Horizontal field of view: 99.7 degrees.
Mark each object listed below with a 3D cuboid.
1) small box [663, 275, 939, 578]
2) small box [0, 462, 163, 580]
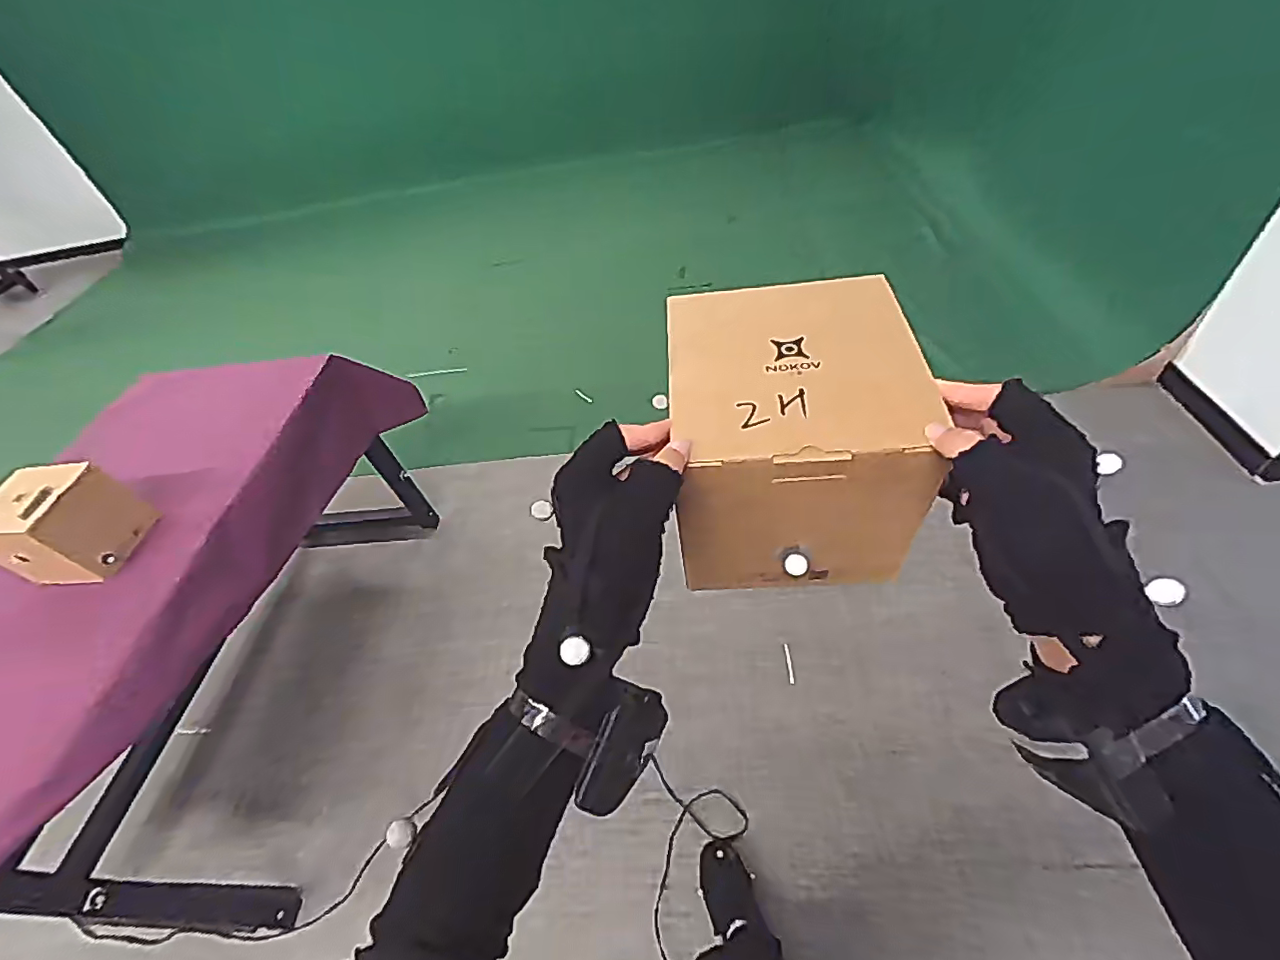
[{"bbox_3d":[0.108,-0.037,0.439,0.168,0.176,0.179,-4,53,7],"label":"small box"},{"bbox_3d":[-1.110,0.084,1.060,0.179,0.176,0.168,-4,49,10],"label":"small box"}]
